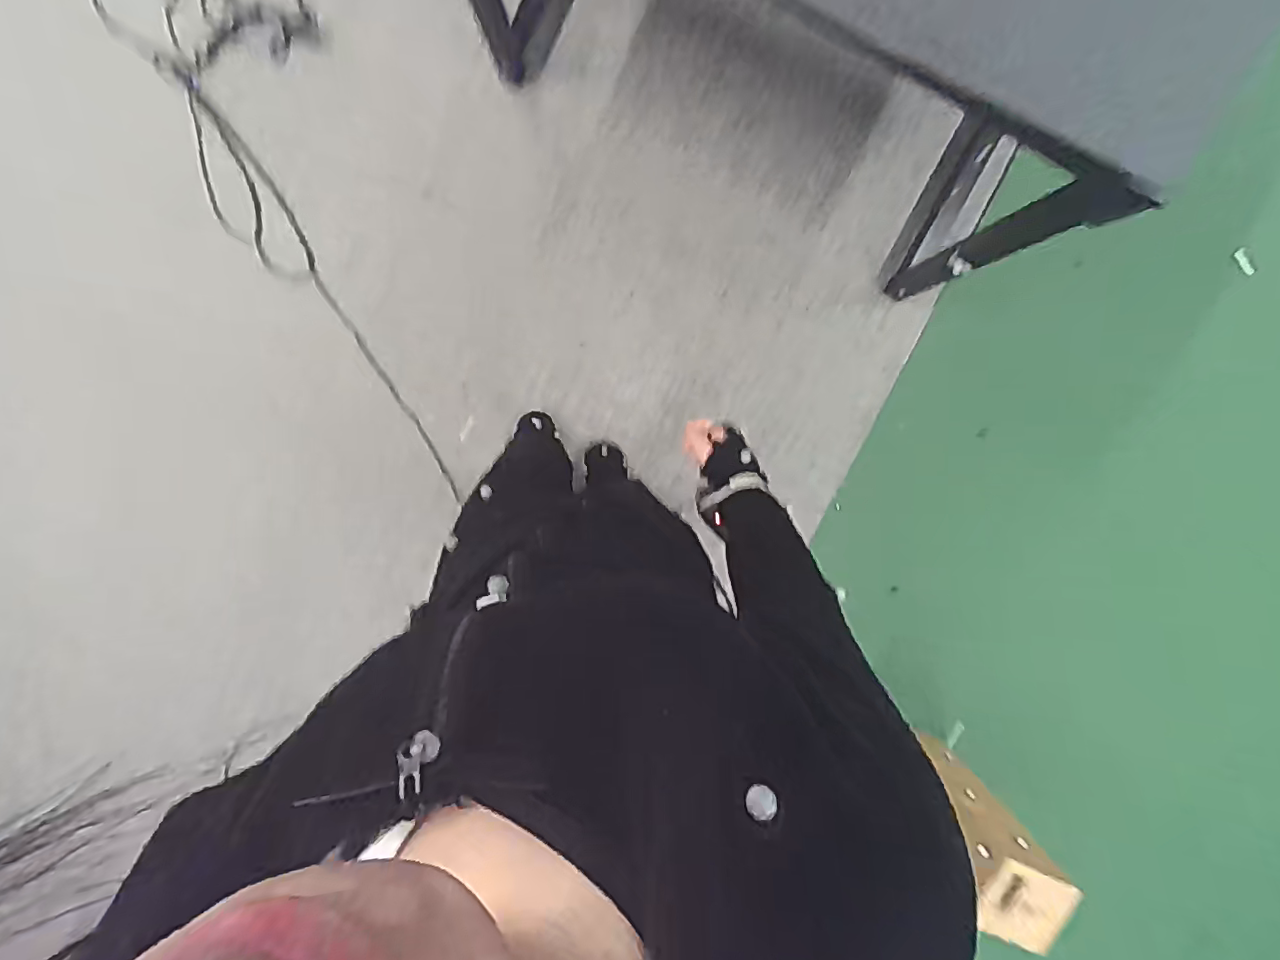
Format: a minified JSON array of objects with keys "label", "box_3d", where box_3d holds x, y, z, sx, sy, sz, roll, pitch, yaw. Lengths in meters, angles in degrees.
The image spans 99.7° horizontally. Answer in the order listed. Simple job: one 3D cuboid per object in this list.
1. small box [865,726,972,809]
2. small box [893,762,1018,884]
[{"label":"small box","box_3d":[0.773,0.828,1.516,0.179,0.176,0.168,26,94,-5]},{"label":"small box","box_3d":[0.780,0.849,1.355,0.179,0.176,0.168,24,96,-5]}]
